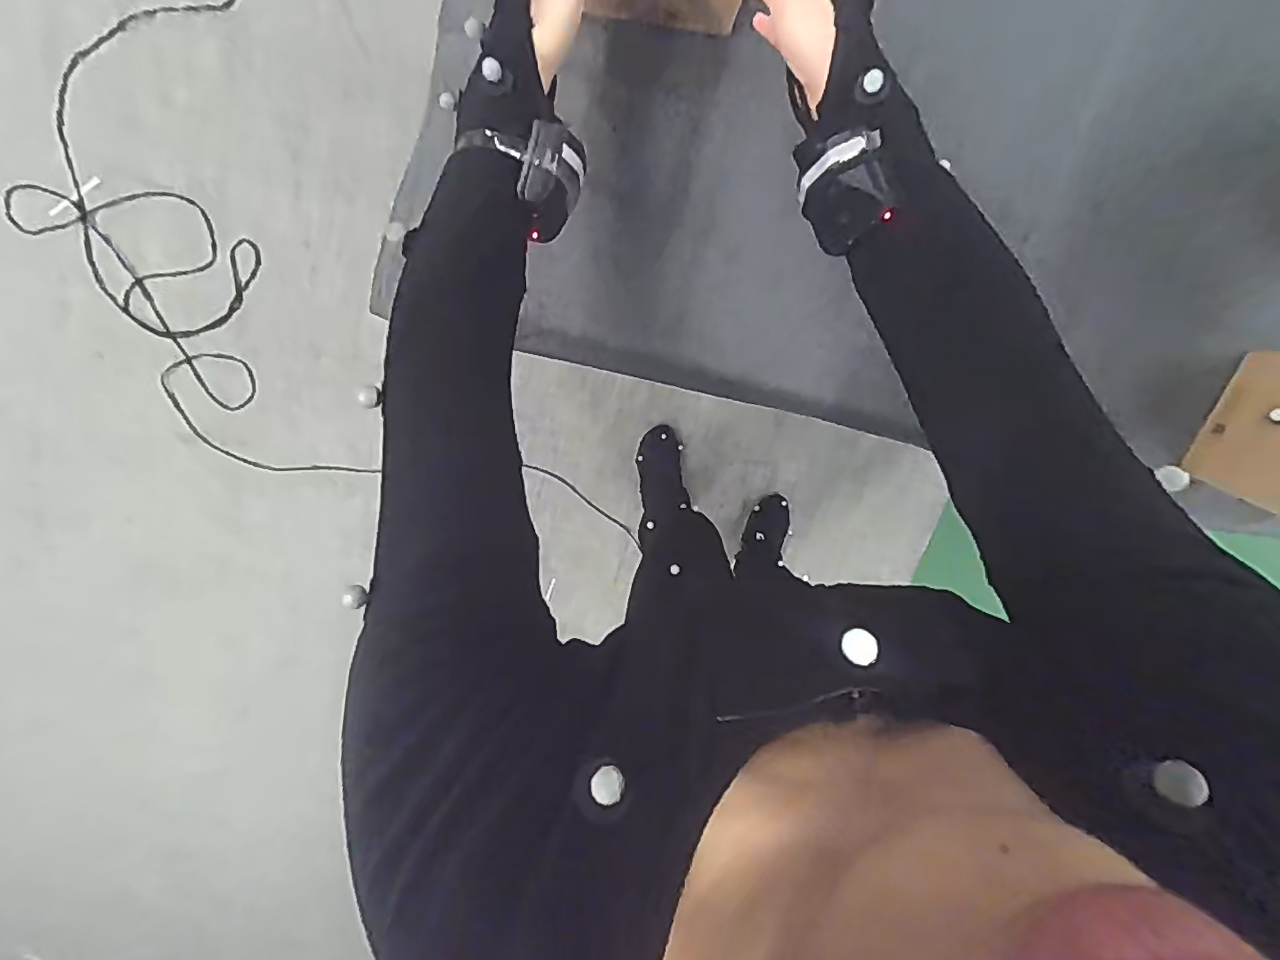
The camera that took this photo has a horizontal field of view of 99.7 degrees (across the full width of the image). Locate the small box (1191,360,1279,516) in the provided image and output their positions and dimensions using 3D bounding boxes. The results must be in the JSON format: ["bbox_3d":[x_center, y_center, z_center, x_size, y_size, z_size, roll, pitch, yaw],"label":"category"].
[{"bbox_3d":[0.805,-0.034,0.610,0.179,0.176,0.168,20,101,-7],"label":"small box"}]
